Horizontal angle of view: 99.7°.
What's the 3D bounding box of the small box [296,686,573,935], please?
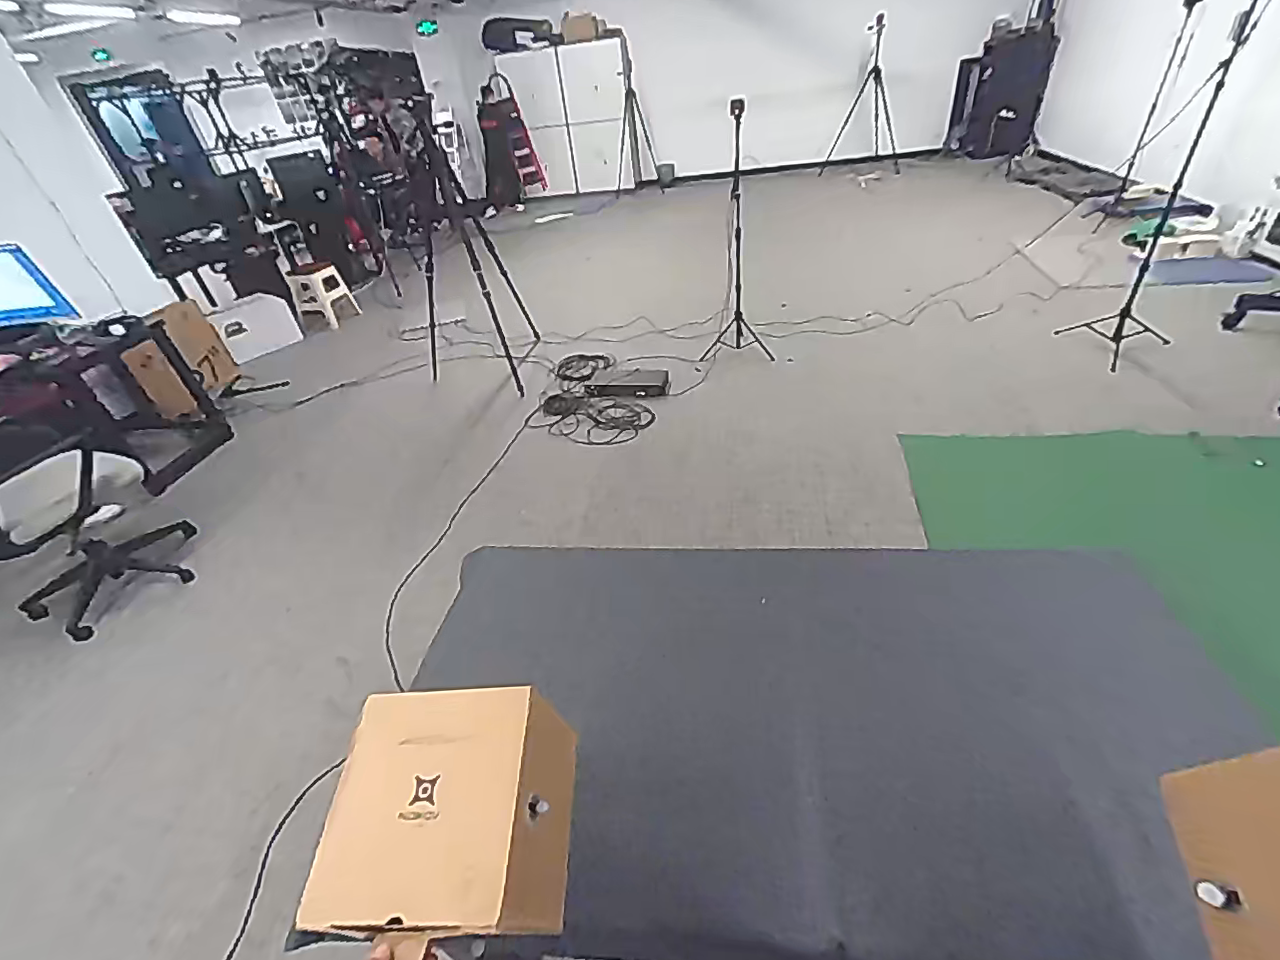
[{"bbox_3d":[-0.166,0.313,0.508,0.168,0.176,0.179,-6,49,7],"label":"small box"}]
